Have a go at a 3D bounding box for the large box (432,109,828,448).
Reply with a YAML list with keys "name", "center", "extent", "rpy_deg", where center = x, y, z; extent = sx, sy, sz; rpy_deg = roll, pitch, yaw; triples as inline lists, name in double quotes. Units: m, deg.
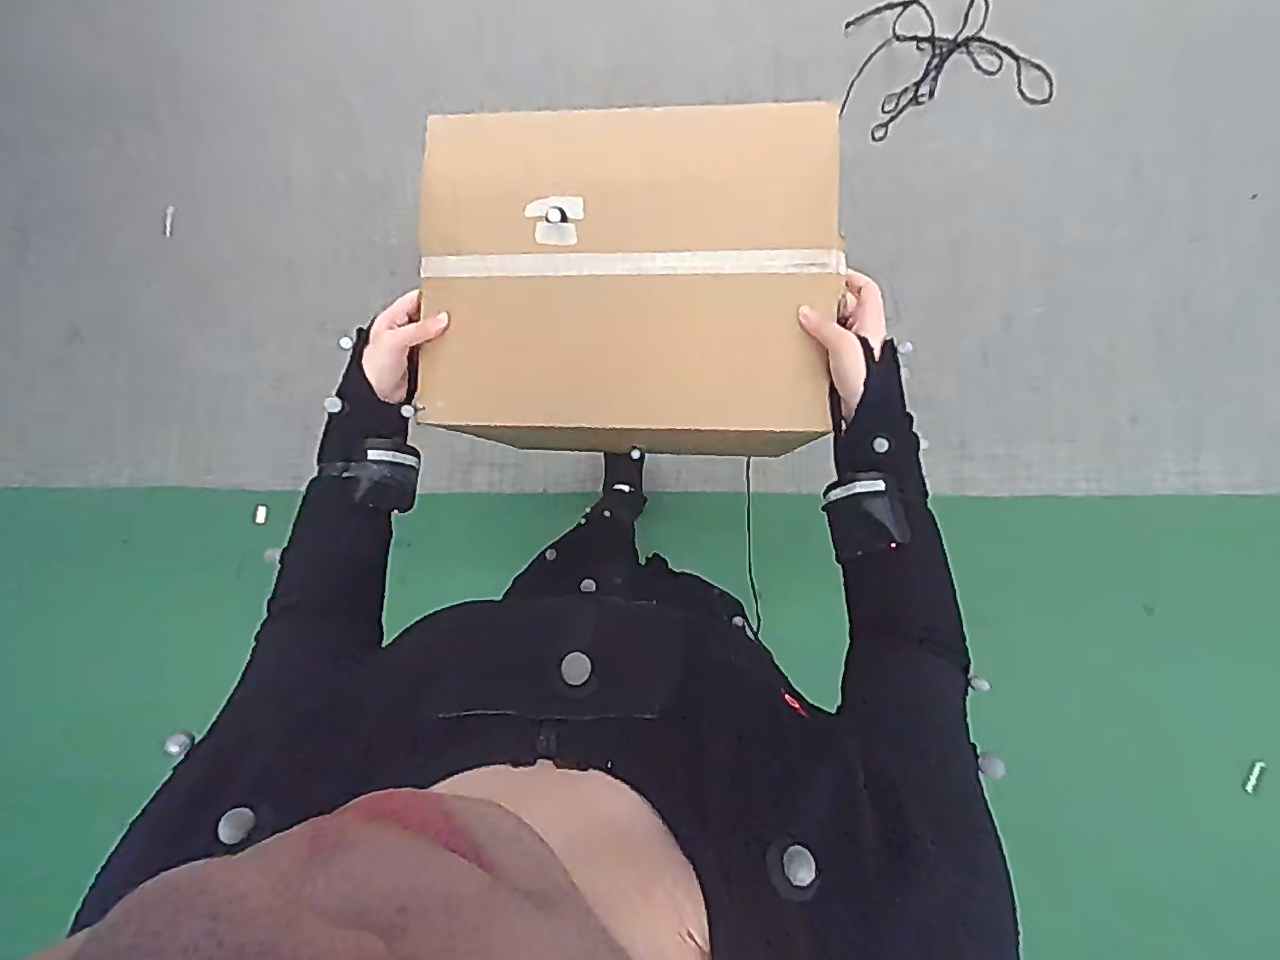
- name: "large box"
  center: [0.002, -0.203, 0.688]
  extent: [0.408, 0.320, 0.320]
  rpy_deg: [1, 88, 7]
